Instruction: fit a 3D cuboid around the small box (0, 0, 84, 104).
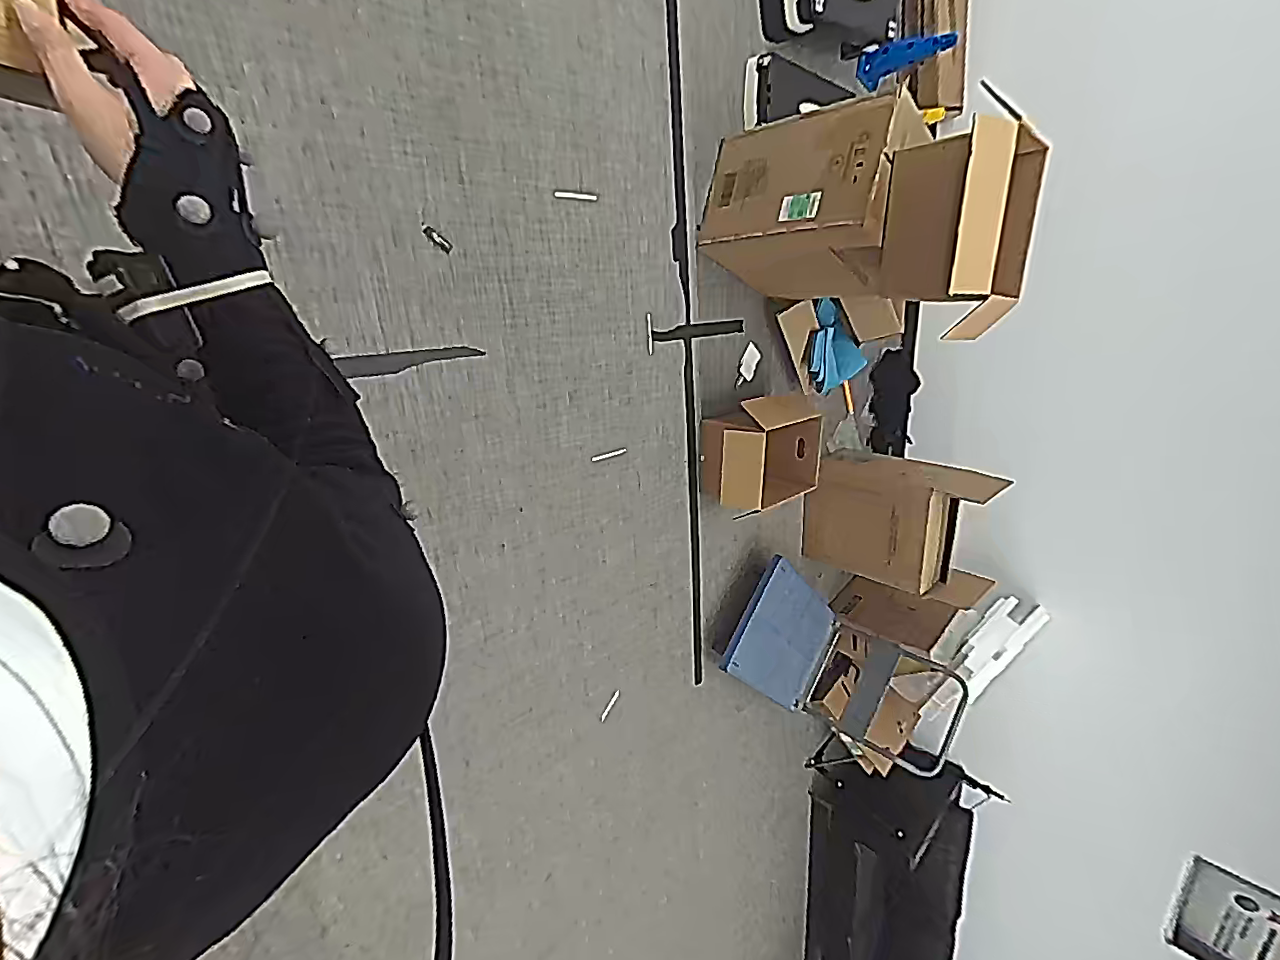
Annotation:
[{"bbox_3d":[-0.429,-0.325,0.282,0.179,0.176,0.168,-7,115,-42],"label":"small box"}]
